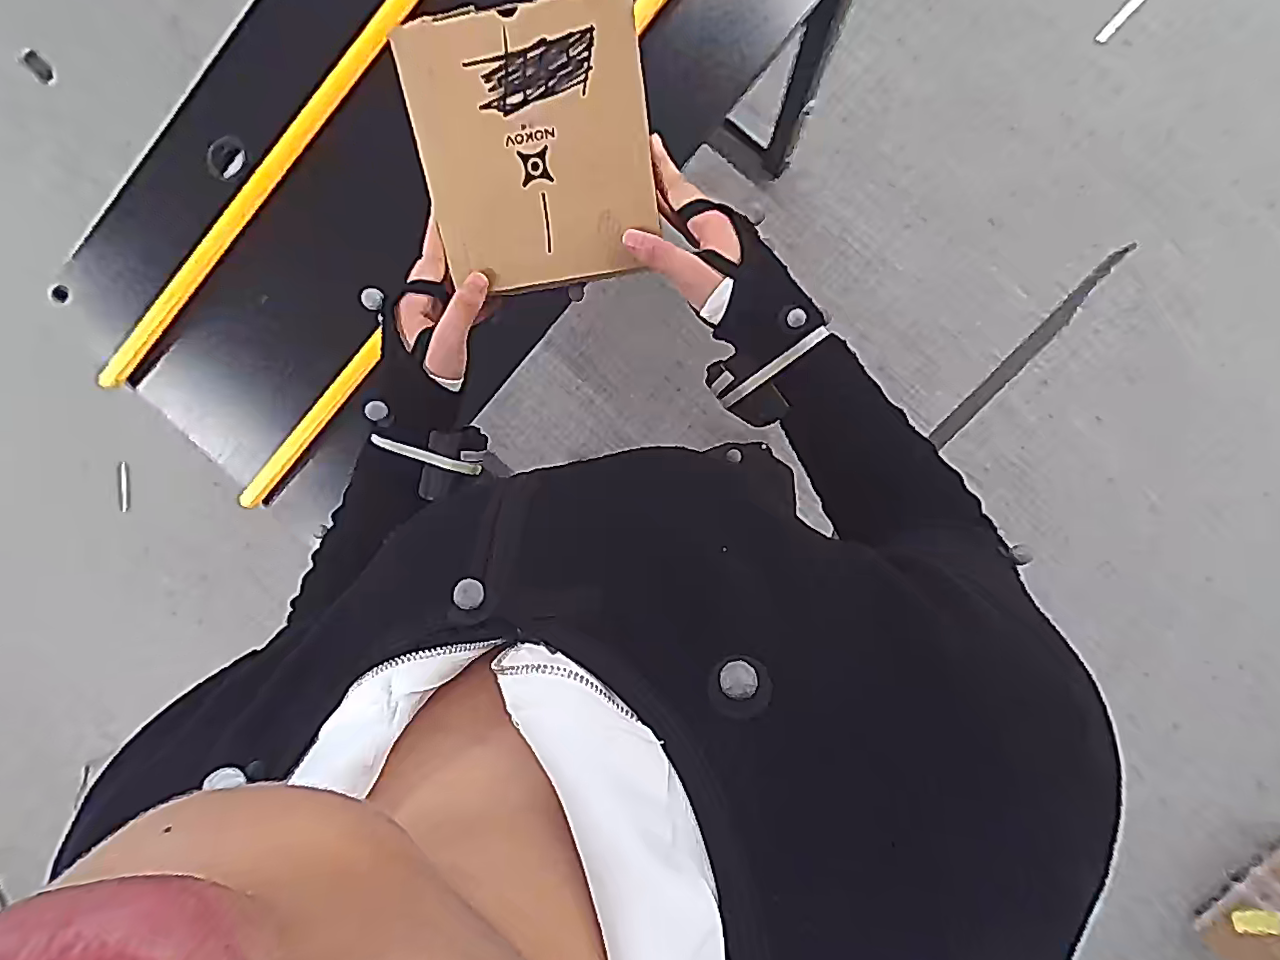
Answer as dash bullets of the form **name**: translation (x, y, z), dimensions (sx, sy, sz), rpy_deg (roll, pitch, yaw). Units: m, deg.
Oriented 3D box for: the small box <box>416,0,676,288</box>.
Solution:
- **small box**: translation (-0.060, -0.265, 0.464), dimensions (0.168, 0.176, 0.179), rpy_deg (-6, 110, 5)
